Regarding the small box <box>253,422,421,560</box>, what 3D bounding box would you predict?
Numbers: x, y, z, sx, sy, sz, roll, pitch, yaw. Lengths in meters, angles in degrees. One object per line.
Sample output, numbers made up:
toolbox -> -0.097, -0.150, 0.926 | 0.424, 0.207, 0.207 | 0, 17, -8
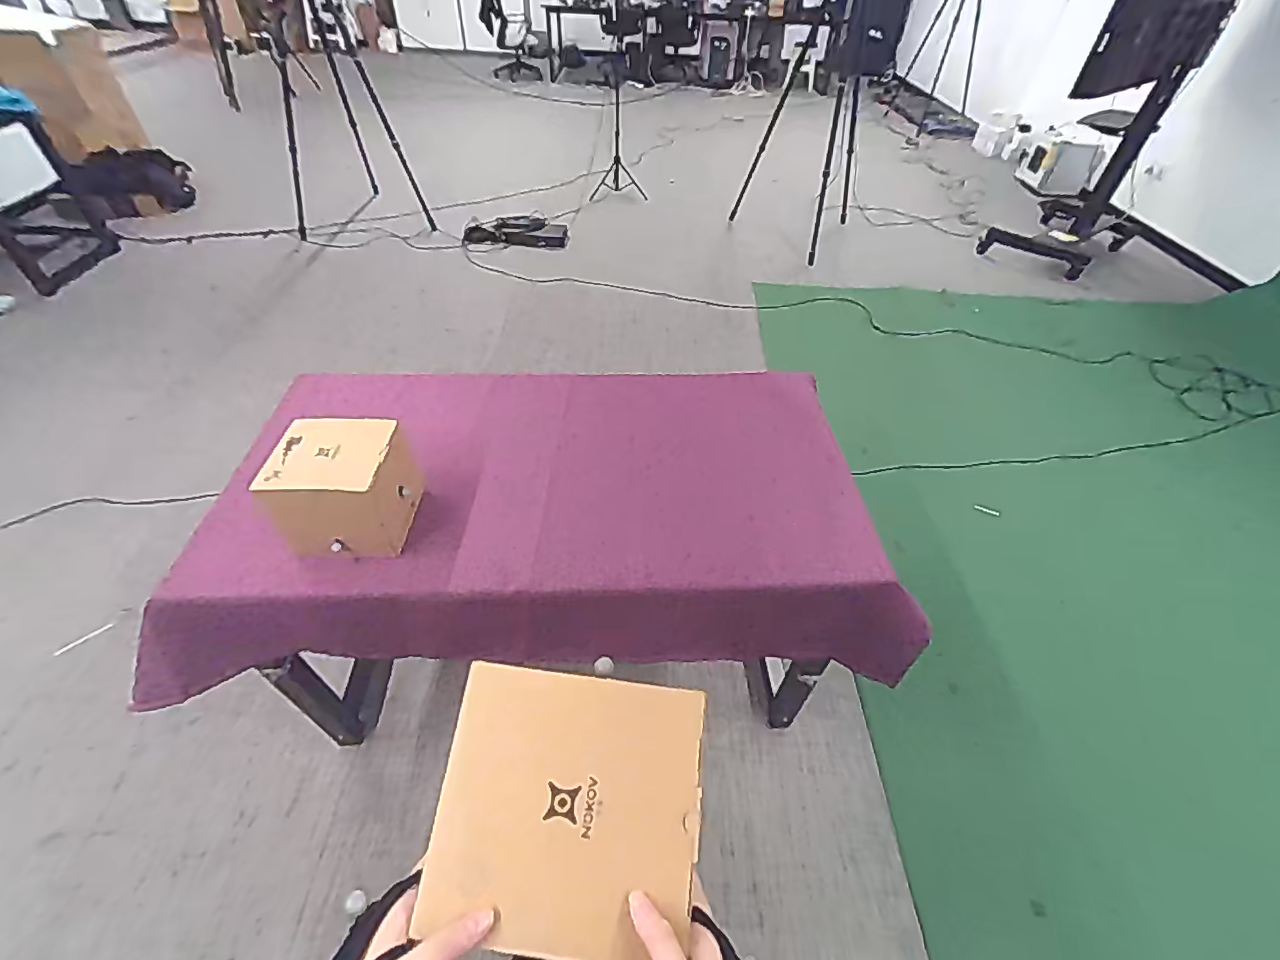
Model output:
small box -> -0.491, 0.021, 0.914 | 0.179, 0.176, 0.168 | 2, 45, -2

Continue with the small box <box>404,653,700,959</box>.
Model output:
small box -> -0.054, 0.247, 0.440 | 0.179, 0.176, 0.168 | 8, 66, 2
